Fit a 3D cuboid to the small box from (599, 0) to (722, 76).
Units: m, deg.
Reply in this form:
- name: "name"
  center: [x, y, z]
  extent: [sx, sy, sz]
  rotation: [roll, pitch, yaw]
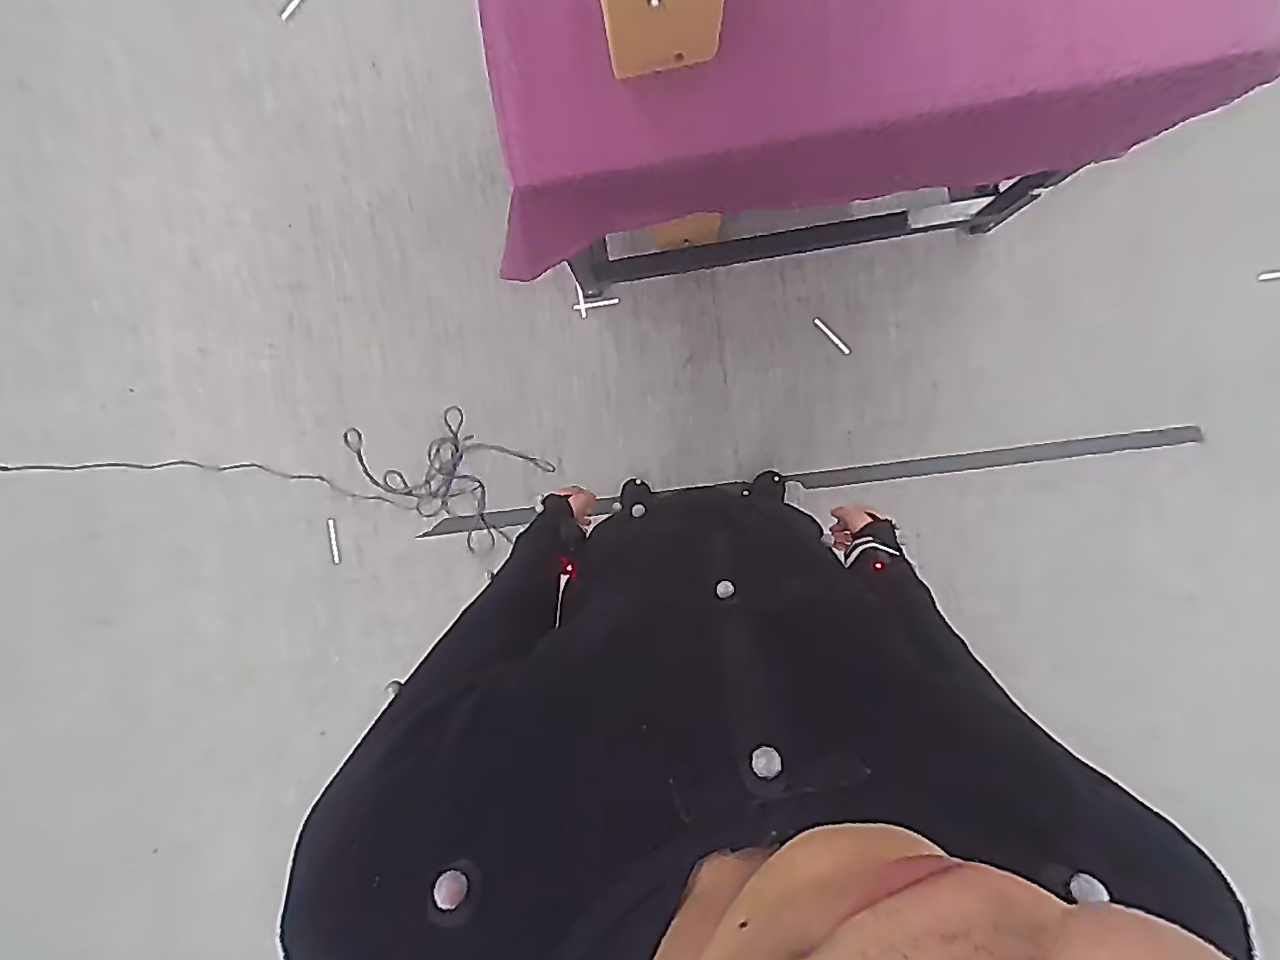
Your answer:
- name: "small box"
  center: [0.020, -0.736, 0.776]
  extent: [0.168, 0.176, 0.179]
  rotation: [-10, 92, 3]
